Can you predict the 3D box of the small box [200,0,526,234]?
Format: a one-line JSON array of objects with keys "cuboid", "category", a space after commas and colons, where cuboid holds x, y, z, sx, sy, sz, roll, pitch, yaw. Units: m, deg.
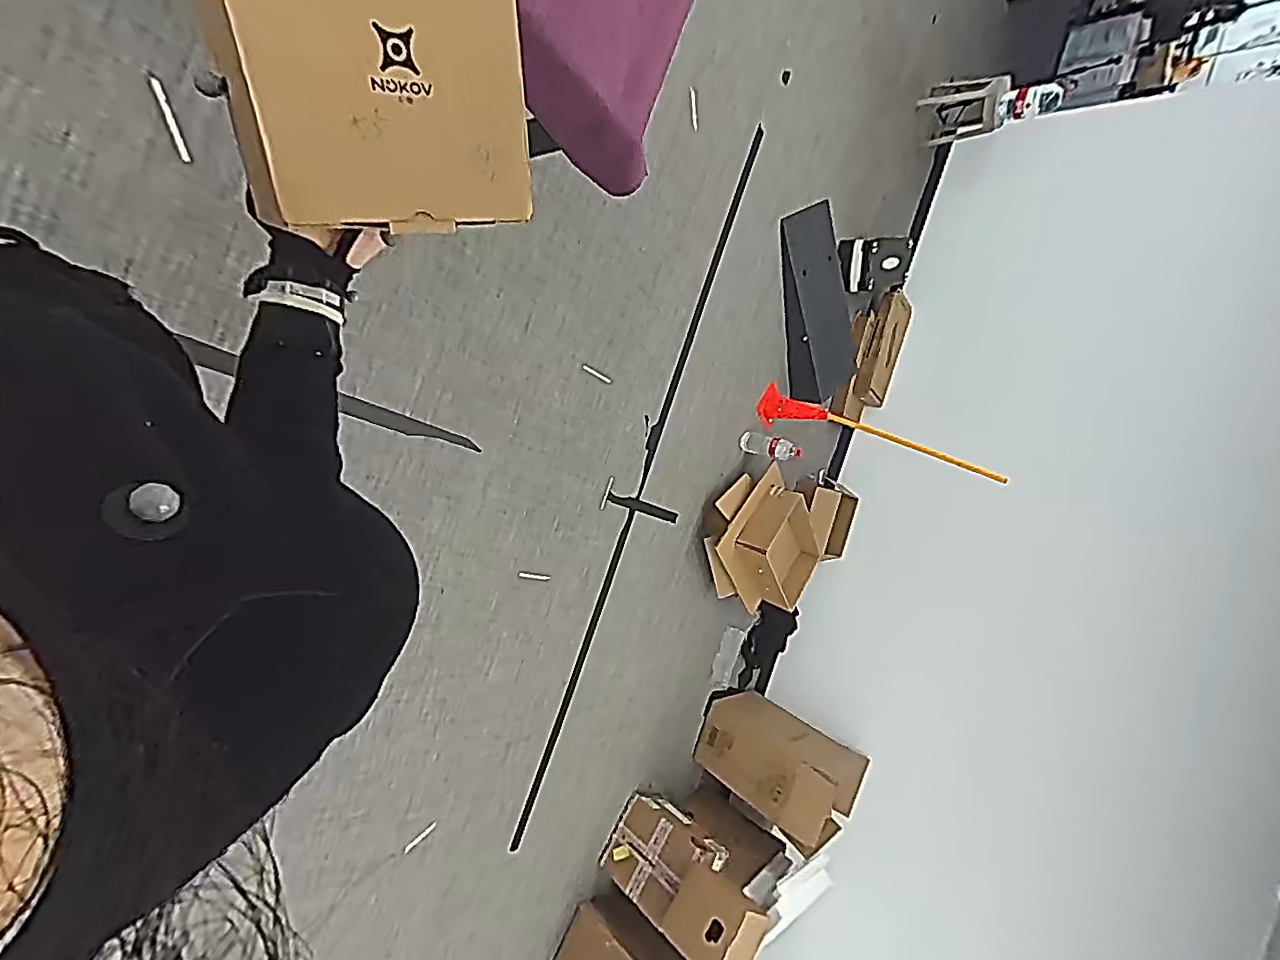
[{"cuboid": [-0.198, -0.281, 0.392, 0.168, 0.176, 0.179, -19, 123, -33], "category": "small box"}]
